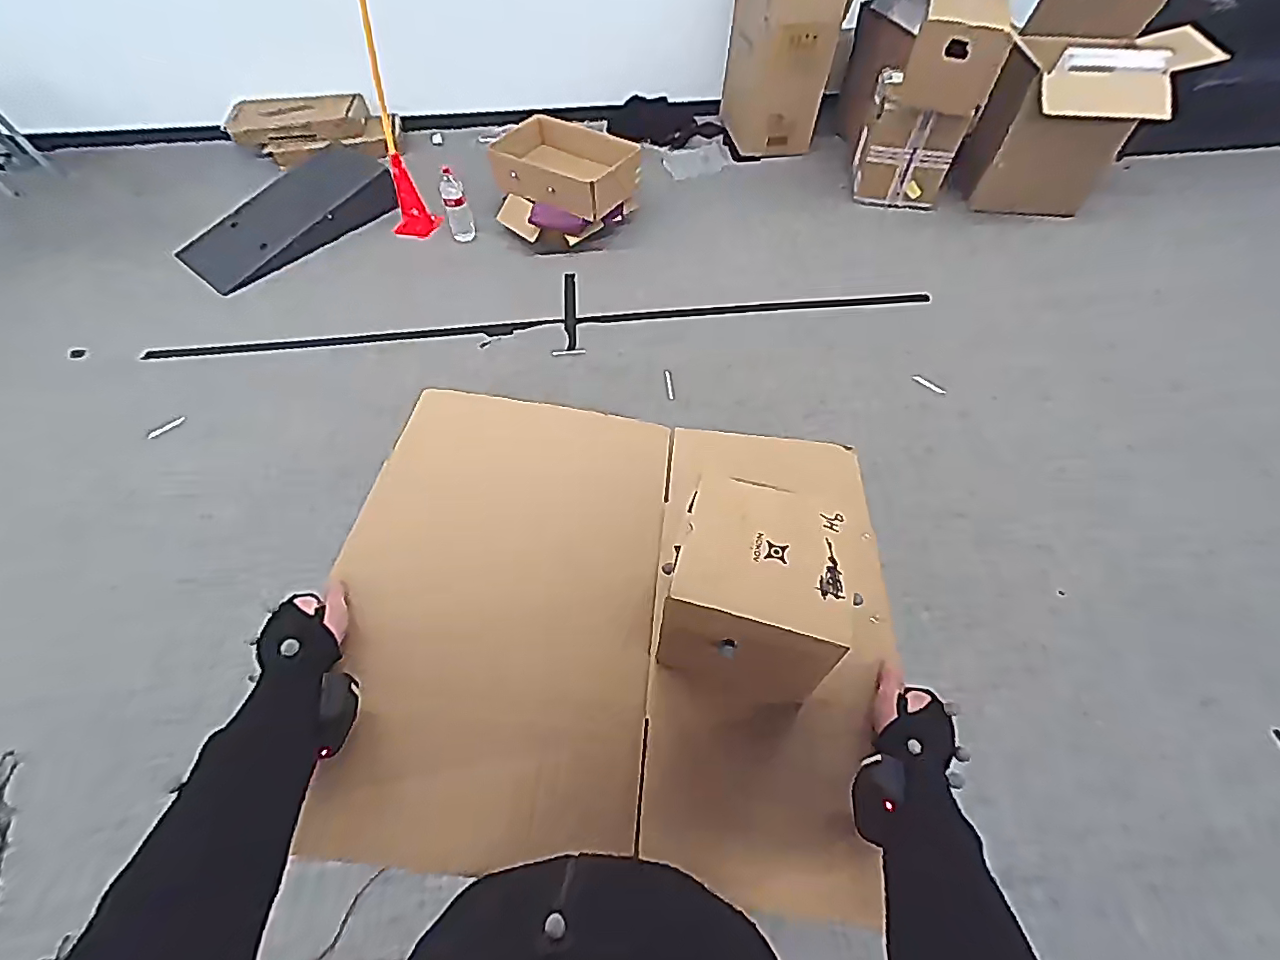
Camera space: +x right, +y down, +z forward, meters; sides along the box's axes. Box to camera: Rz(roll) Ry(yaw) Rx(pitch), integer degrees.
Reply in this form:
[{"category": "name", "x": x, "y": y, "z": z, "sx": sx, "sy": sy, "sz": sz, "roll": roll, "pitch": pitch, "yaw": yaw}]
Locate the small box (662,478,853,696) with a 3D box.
[{"category": "small box", "x": 0.128, "y": 0.126, "z": 0.621, "sx": 0.179, "sy": 0.176, "sz": 0.168, "roll": 13, "pitch": 52, "yaw": 9}]
